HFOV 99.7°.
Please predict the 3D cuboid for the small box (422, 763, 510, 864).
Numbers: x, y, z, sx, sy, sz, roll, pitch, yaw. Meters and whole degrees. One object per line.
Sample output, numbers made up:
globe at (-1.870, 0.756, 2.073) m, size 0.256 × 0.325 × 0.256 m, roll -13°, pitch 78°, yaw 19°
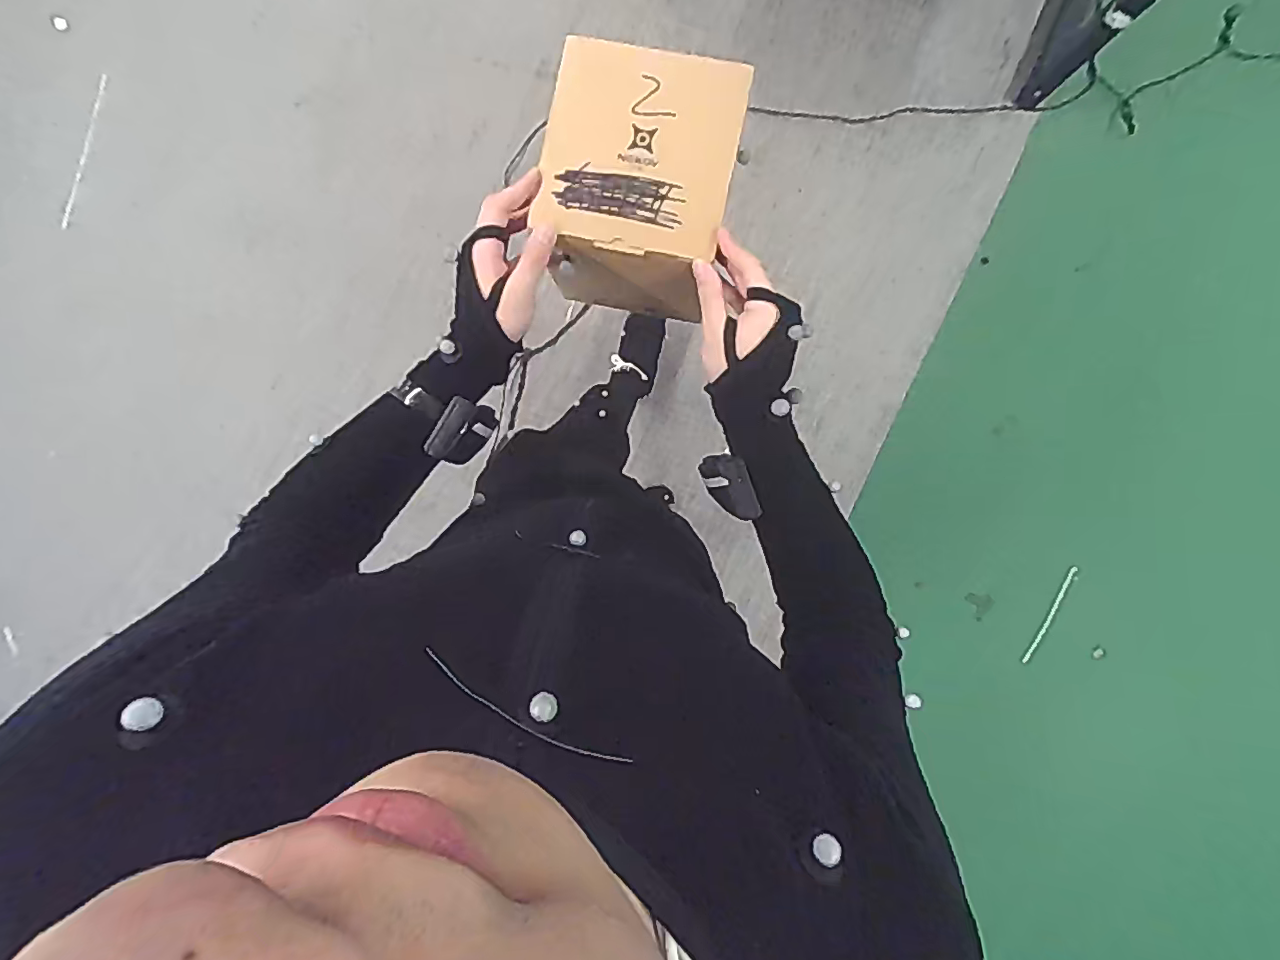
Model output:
small box at (-0.513, 0.991, 1.623) m, size 0.179 × 0.176 × 0.168 m, roll 22°, pitch 95°, yaw 2°
